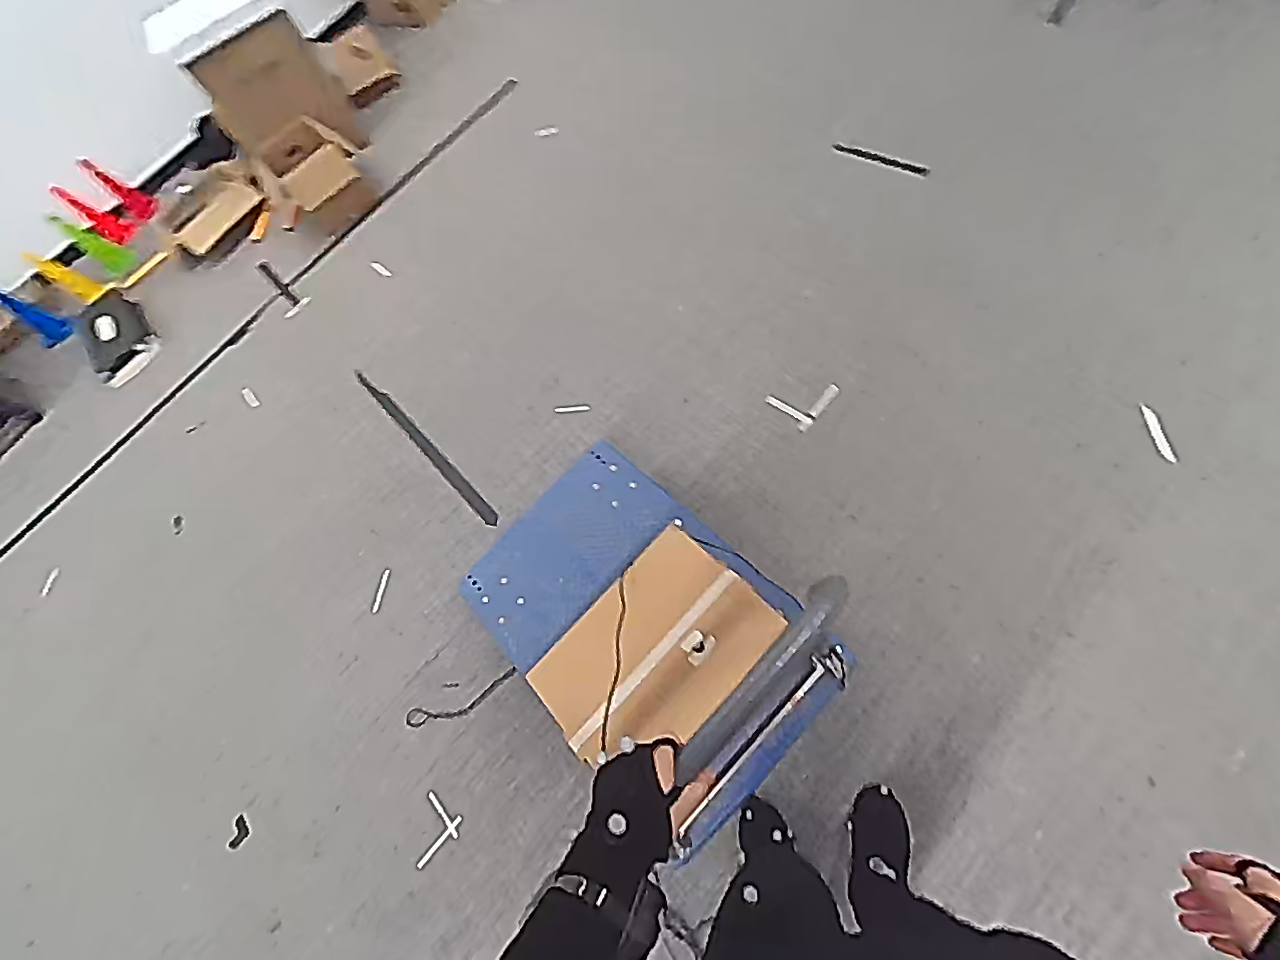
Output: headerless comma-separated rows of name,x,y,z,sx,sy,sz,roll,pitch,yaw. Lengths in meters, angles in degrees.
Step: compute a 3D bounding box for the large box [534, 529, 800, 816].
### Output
large box,0.073,0.384,1.093,0.408,0.320,0.320,-45,61,-7
